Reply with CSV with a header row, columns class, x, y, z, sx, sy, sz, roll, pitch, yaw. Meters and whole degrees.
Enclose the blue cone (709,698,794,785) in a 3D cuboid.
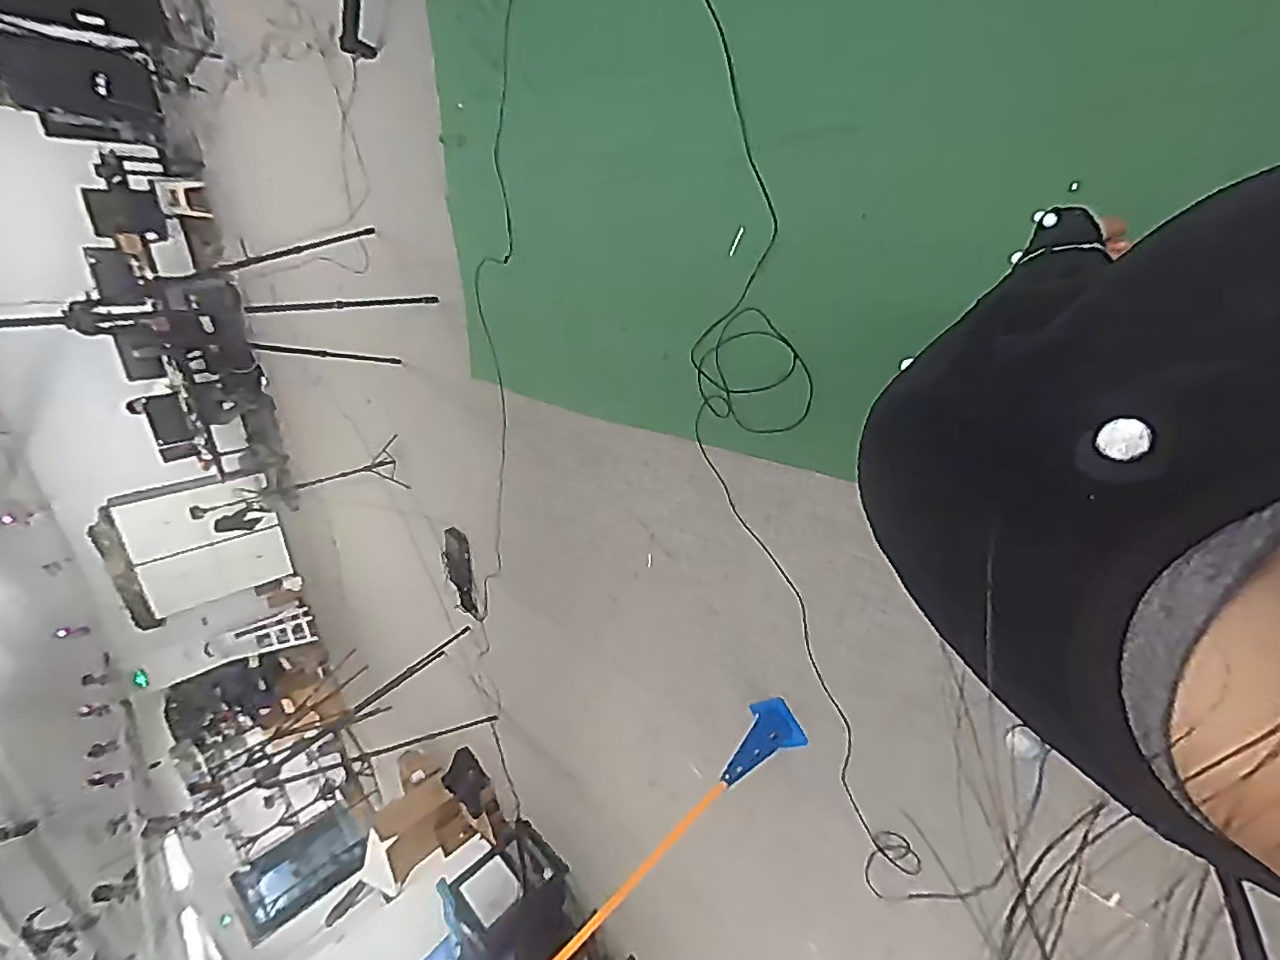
class,x,y,z,sx,sy,sz,roll,pitch,yaw
blue cone,0.393,1.012,2.031,0.192,0.380,0.193,56,139,10
